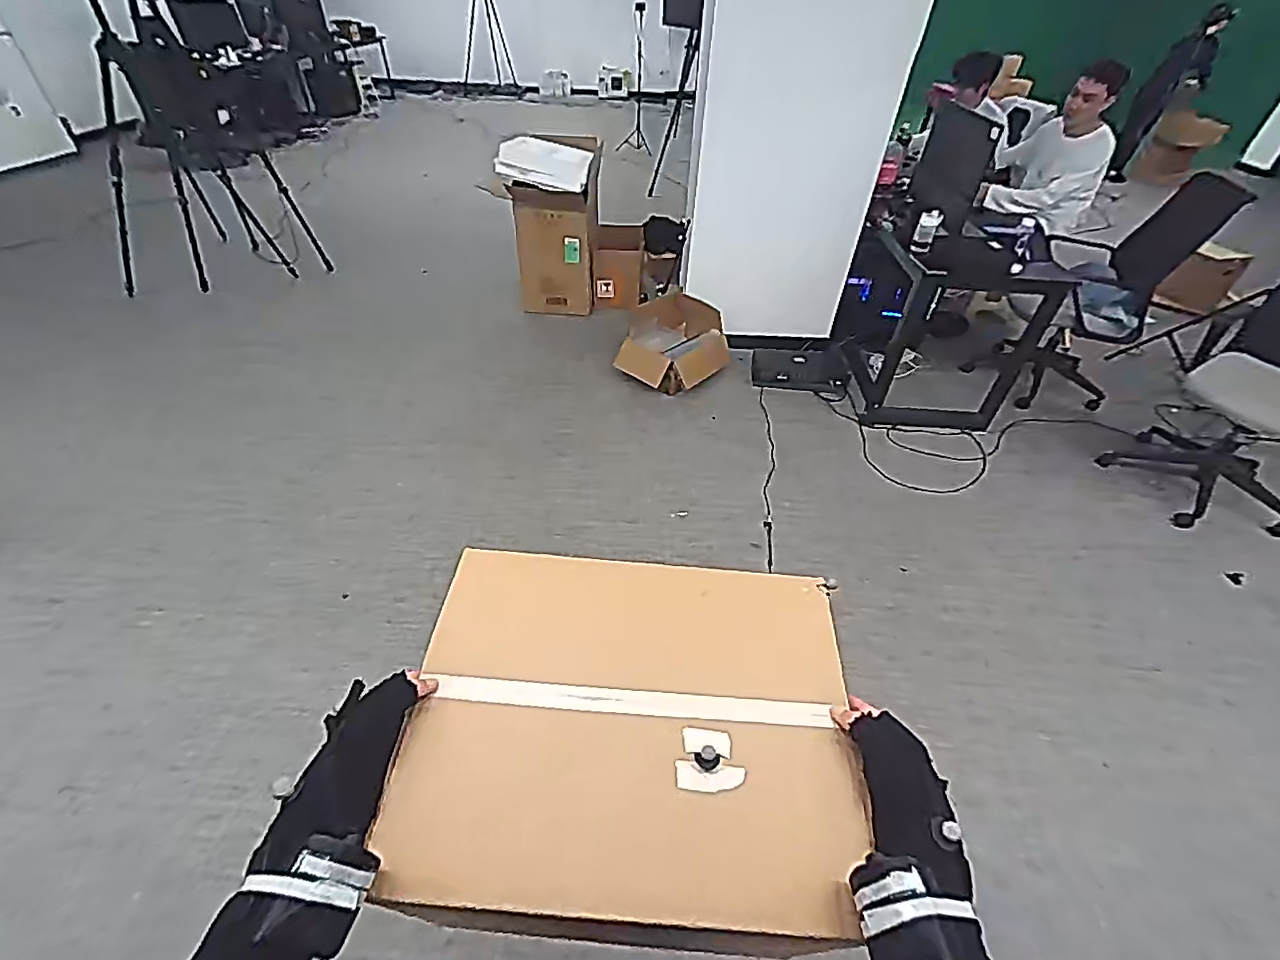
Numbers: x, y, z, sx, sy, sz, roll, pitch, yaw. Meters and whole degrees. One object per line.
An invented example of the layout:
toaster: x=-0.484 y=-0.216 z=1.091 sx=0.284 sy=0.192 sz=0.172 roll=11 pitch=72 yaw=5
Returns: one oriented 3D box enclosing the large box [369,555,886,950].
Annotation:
large box: x=-0.012 y=0.312 z=0.616 sx=0.408 sy=0.320 sz=0.320 roll=5 pitch=47 yaw=0
